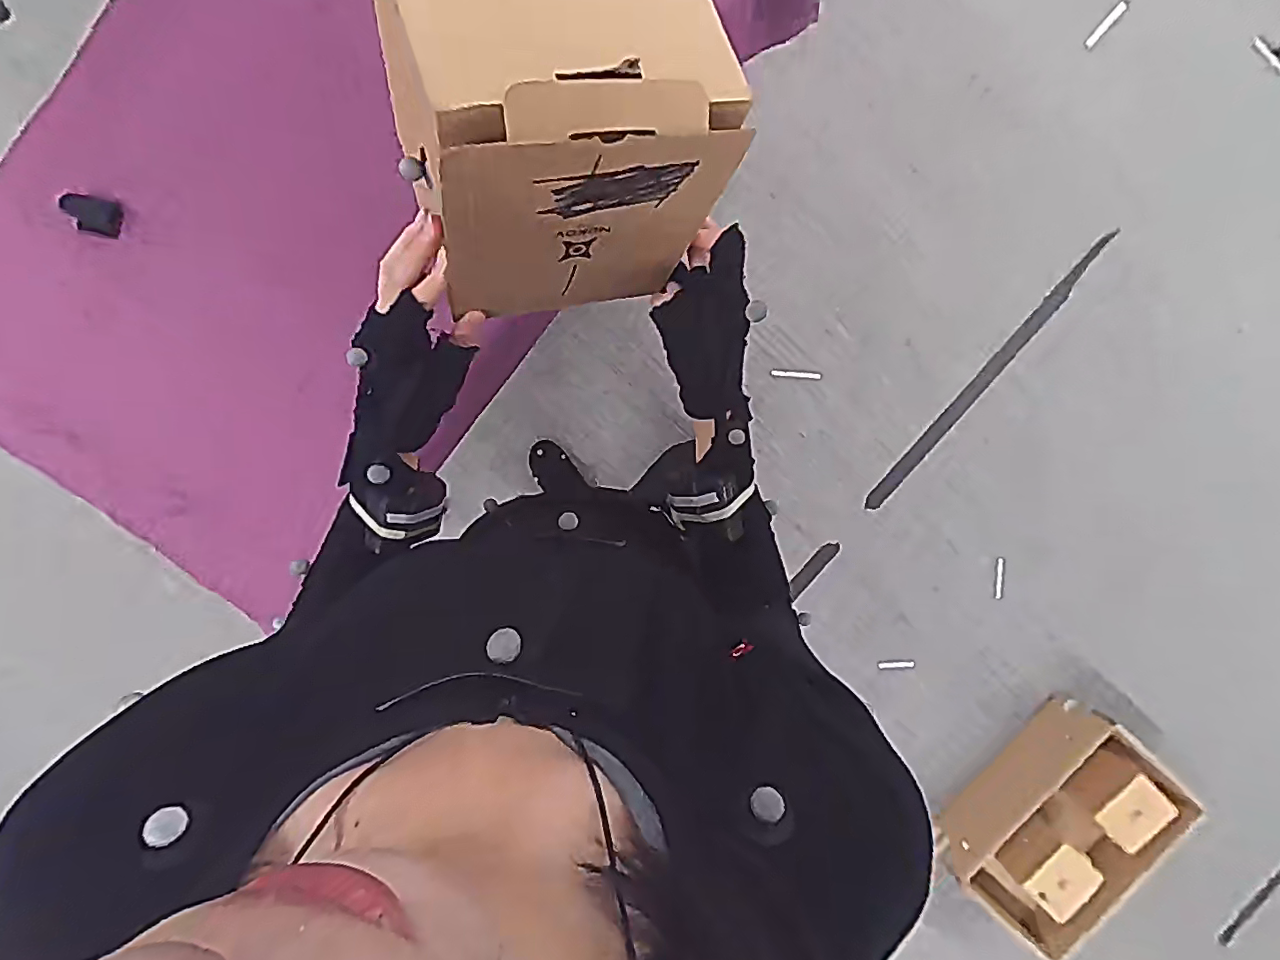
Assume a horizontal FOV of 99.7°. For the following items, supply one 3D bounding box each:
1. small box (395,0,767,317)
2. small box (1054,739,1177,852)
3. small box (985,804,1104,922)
[{"bbox_3d":[-0.053,-0.235,0.349,0.168,0.179,0.176,-14,79,-19],"label":"small box"},{"bbox_3d":[1.324,0.882,1.526,0.168,0.176,0.179,45,91,-5],"label":"small box"},{"bbox_3d":[1.135,1.073,1.531,0.168,0.176,0.179,43,88,-4],"label":"small box"}]
